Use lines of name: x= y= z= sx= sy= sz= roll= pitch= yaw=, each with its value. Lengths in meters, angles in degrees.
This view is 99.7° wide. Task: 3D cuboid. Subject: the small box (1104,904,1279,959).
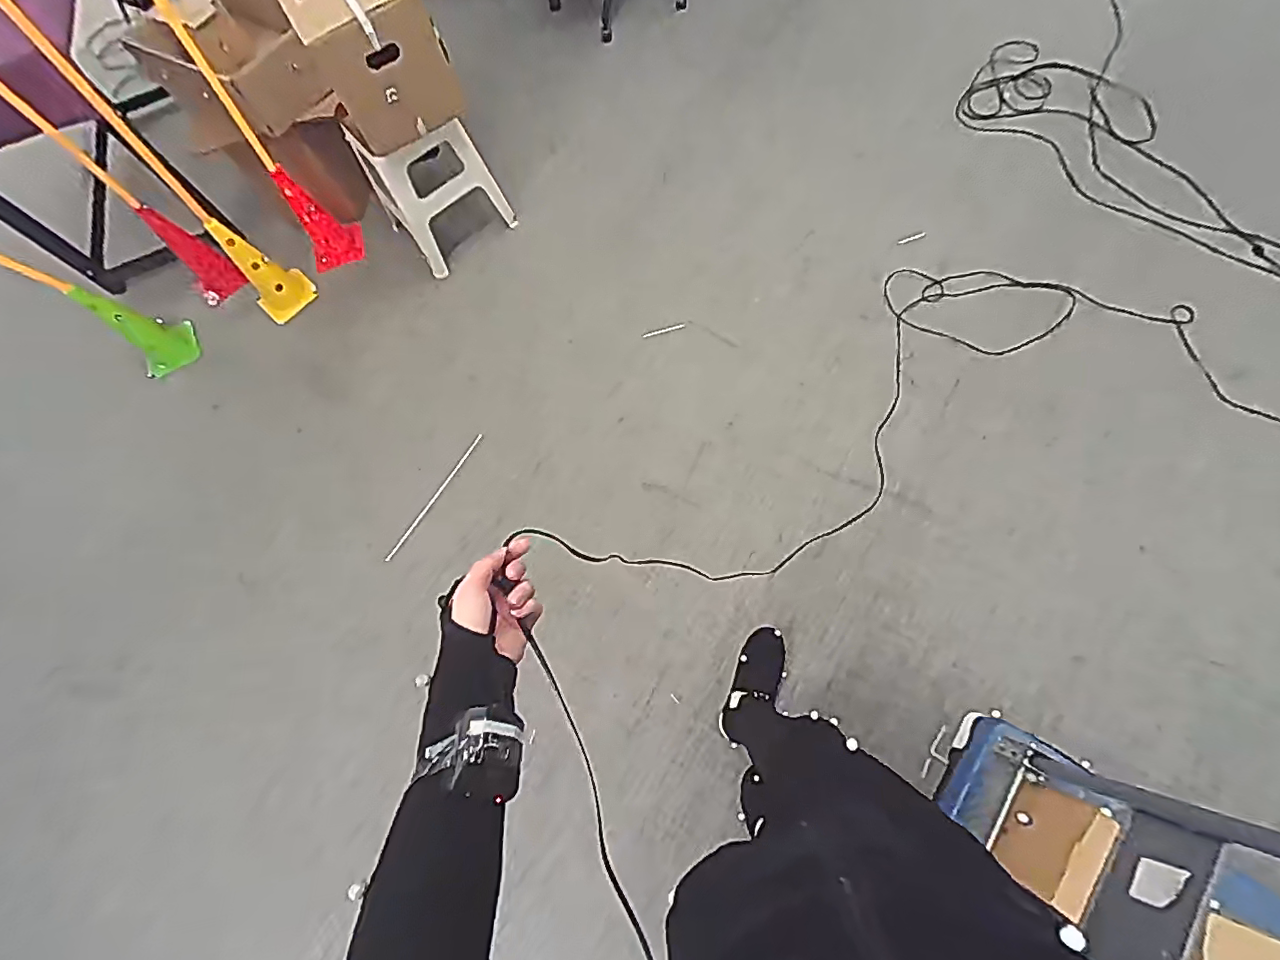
small box: x=0.899 y=0.779 z=0.861 sx=0.179 sy=0.176 sz=0.168 roll=23 pitch=77 yaw=5

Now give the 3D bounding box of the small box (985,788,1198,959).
small box: x=0.729 y=0.652 z=0.895 sx=0.179 sy=0.176 sz=0.168 roll=38 pitch=78 yaw=10
